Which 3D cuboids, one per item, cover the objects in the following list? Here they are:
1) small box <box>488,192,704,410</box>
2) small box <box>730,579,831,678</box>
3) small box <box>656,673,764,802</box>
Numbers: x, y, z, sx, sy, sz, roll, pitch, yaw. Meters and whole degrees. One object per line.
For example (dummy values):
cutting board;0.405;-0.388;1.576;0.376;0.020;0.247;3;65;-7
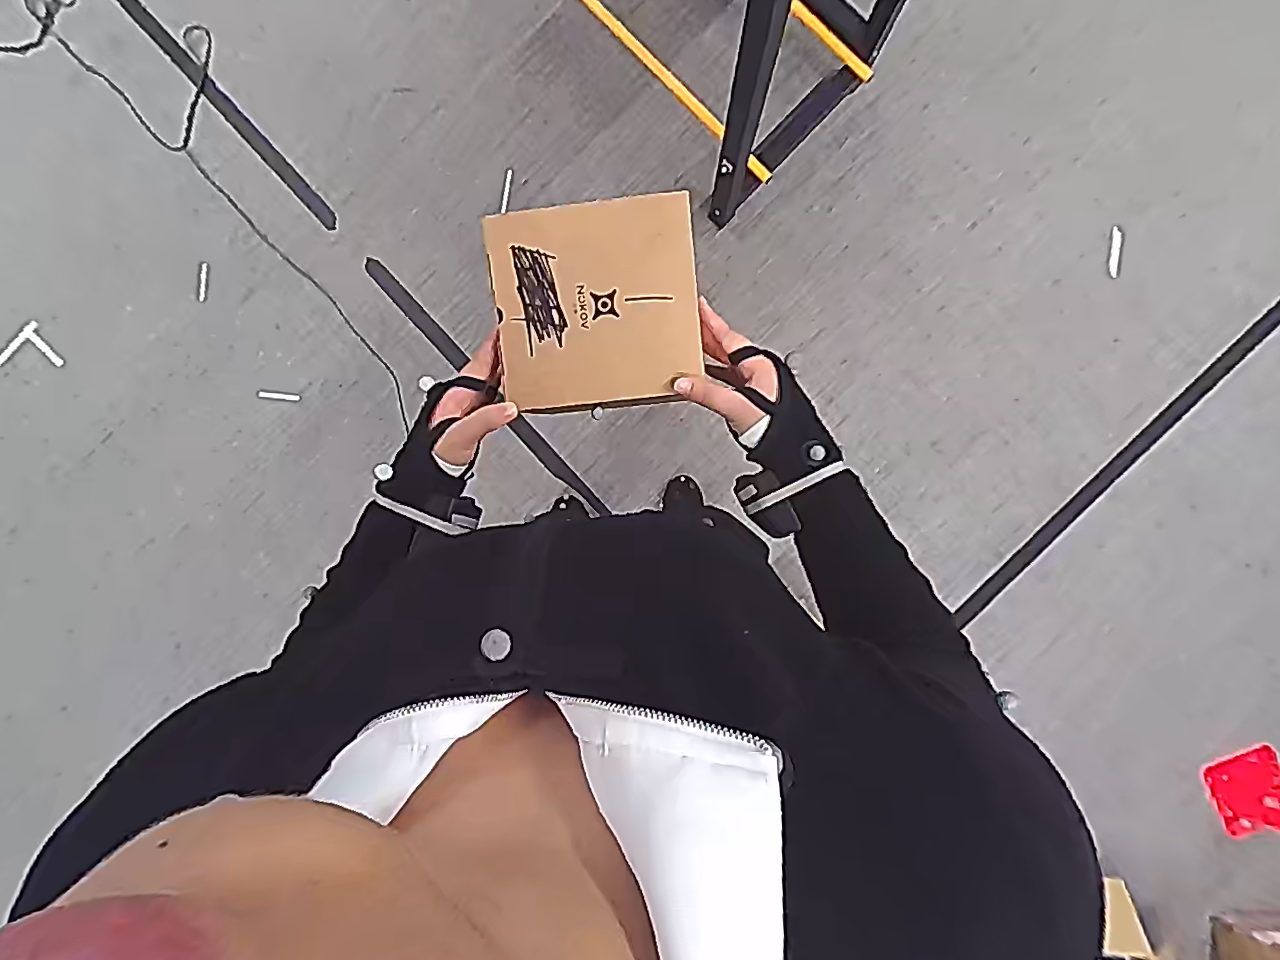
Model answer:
small box;-0.033;-0.160;0.540;0.179;0.176;0.168;-5;96;3
small box;0.354;0.375;1.408;0.168;0.176;0.179;-42;88;1
small box;0.156;0.582;1.250;0.168;0.176;0.179;-43;87;0
